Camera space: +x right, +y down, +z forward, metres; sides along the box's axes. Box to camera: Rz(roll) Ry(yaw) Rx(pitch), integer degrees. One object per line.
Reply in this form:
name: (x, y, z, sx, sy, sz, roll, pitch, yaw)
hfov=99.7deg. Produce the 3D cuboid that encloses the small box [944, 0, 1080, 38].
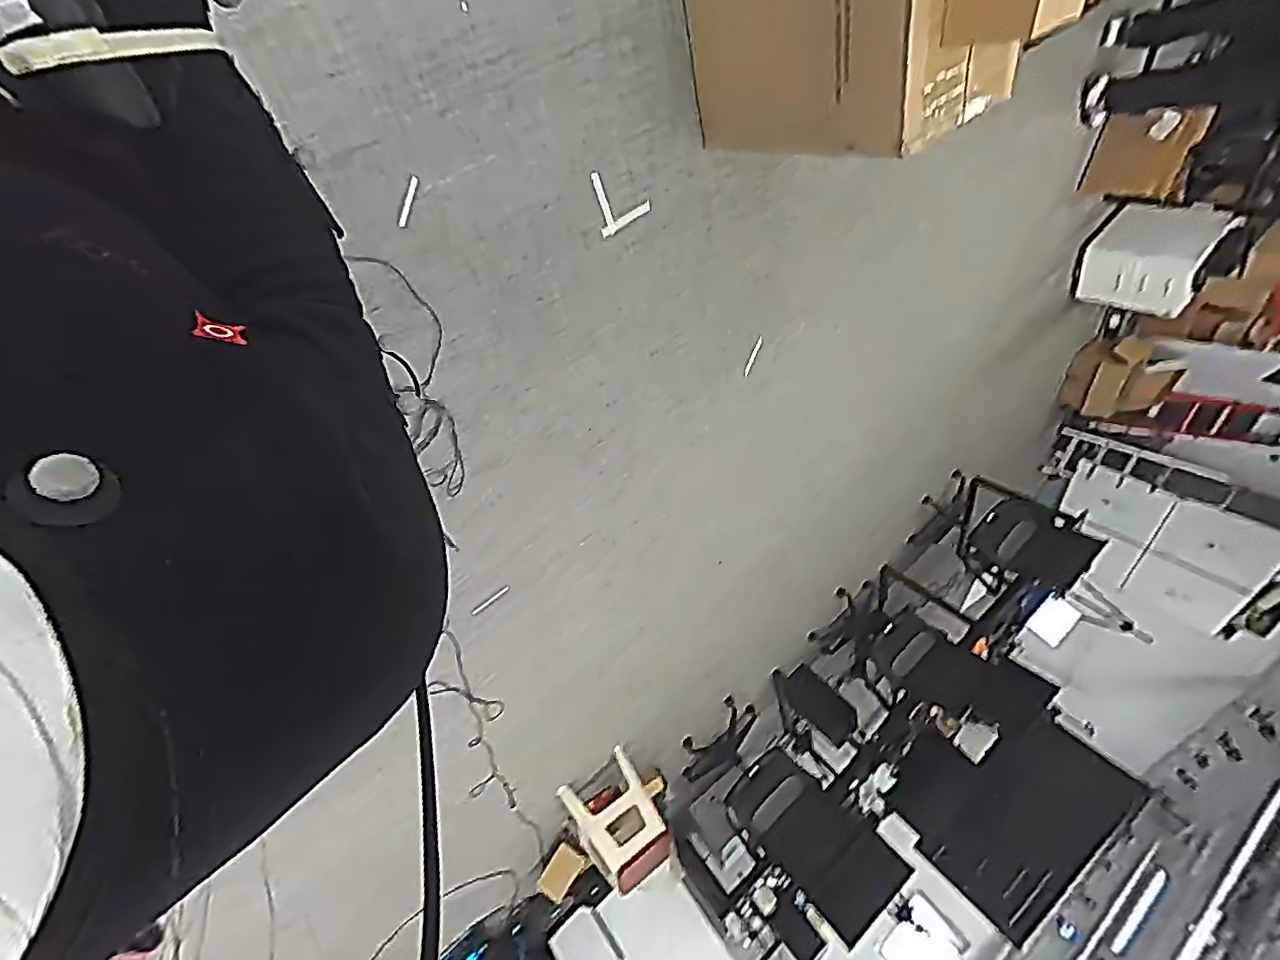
small box: (0.672, -0.920, 0.958, 0.168, 0.176, 0.179, -35, 136, -18)
